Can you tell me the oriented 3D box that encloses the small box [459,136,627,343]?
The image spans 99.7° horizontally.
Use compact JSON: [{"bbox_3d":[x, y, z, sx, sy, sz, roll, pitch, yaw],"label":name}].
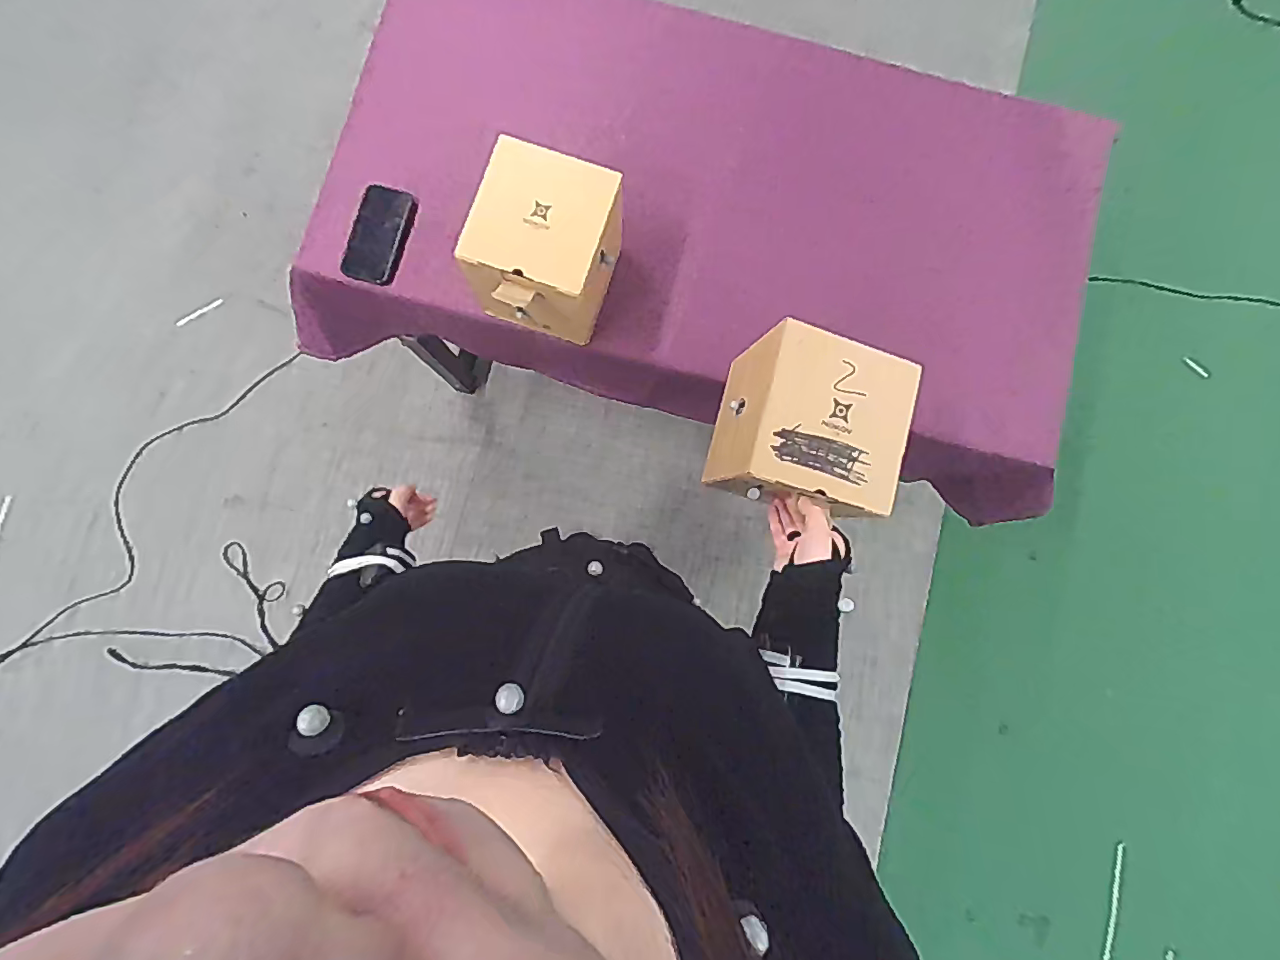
[{"bbox_3d":[-0.126,-0.321,0.754,0.168,0.176,0.179,19,83,-1],"label":"small box"}]
